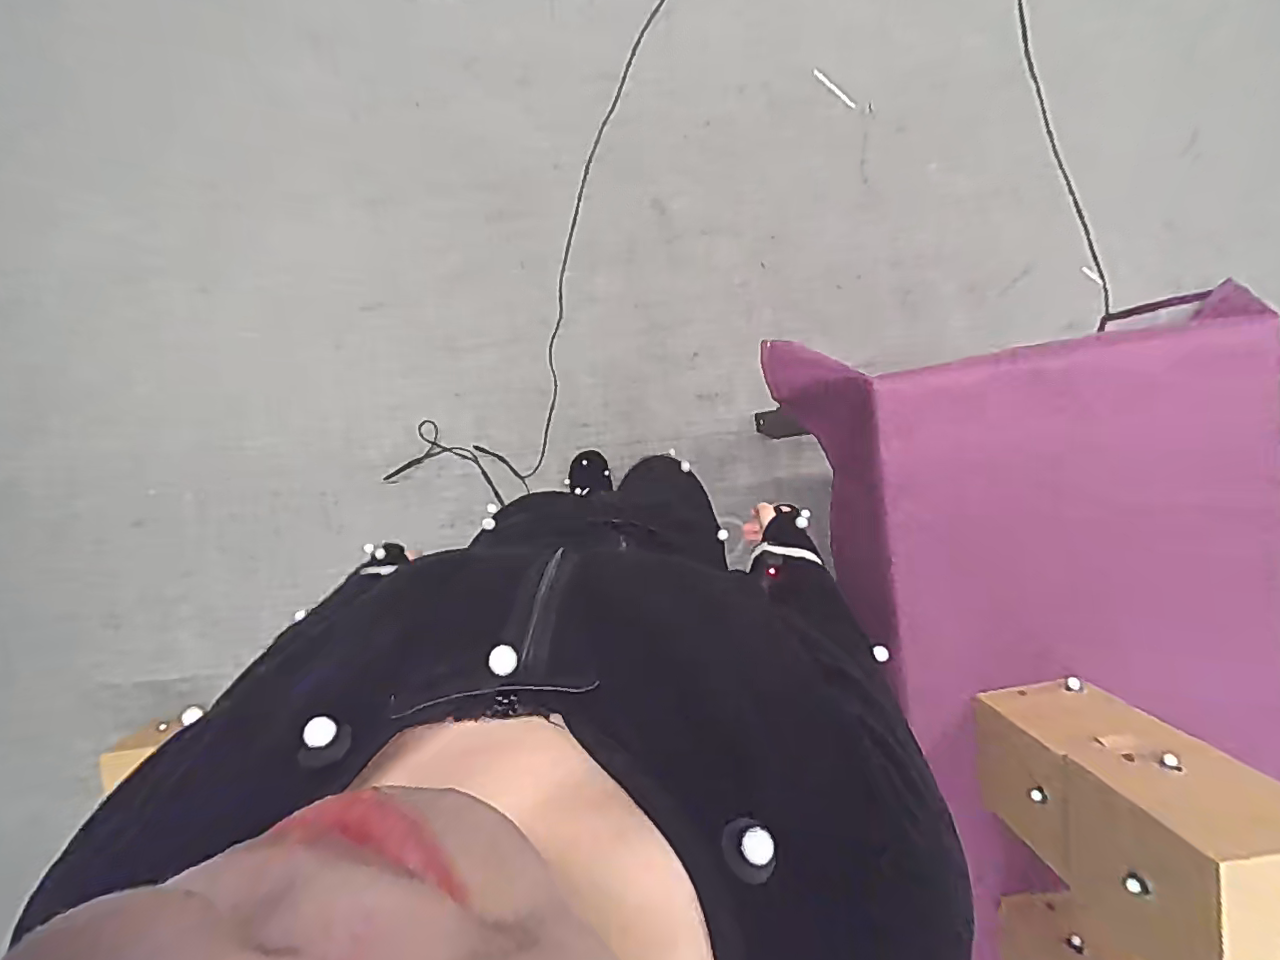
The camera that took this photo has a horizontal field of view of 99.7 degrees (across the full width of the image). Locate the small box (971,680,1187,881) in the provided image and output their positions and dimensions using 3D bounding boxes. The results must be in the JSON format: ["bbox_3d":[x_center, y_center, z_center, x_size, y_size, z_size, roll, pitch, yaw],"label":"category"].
[{"bbox_3d":[0.587,0.394,0.744,0.168,0.176,0.179,-8,96,-2],"label":"small box"}]

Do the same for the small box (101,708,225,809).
[{"bbox_3d":[-1.247,0.723,1.426,0.168,0.176,0.179,-7,95,-1],"label":"small box"}]
